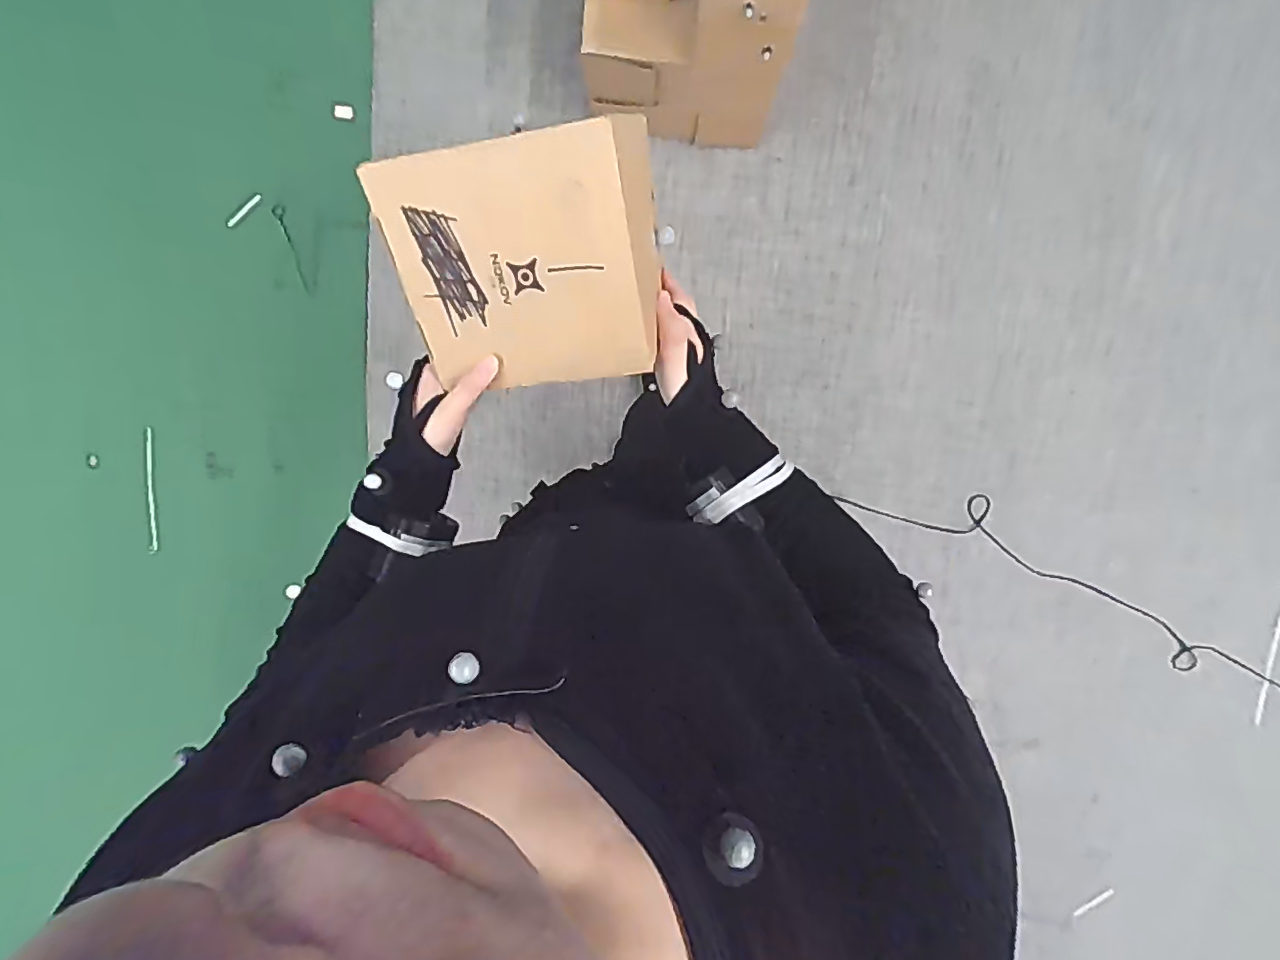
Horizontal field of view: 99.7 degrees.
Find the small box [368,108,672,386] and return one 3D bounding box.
[{"bbox_3d":[-0.074,-0.193,0.447,0.179,0.176,0.168,-4,123,10],"label":"small box"}]

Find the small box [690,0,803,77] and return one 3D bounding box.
[{"bbox_3d":[0.188,-0.851,0.956,0.179,0.176,0.168,5,97,2],"label":"small box"}]
